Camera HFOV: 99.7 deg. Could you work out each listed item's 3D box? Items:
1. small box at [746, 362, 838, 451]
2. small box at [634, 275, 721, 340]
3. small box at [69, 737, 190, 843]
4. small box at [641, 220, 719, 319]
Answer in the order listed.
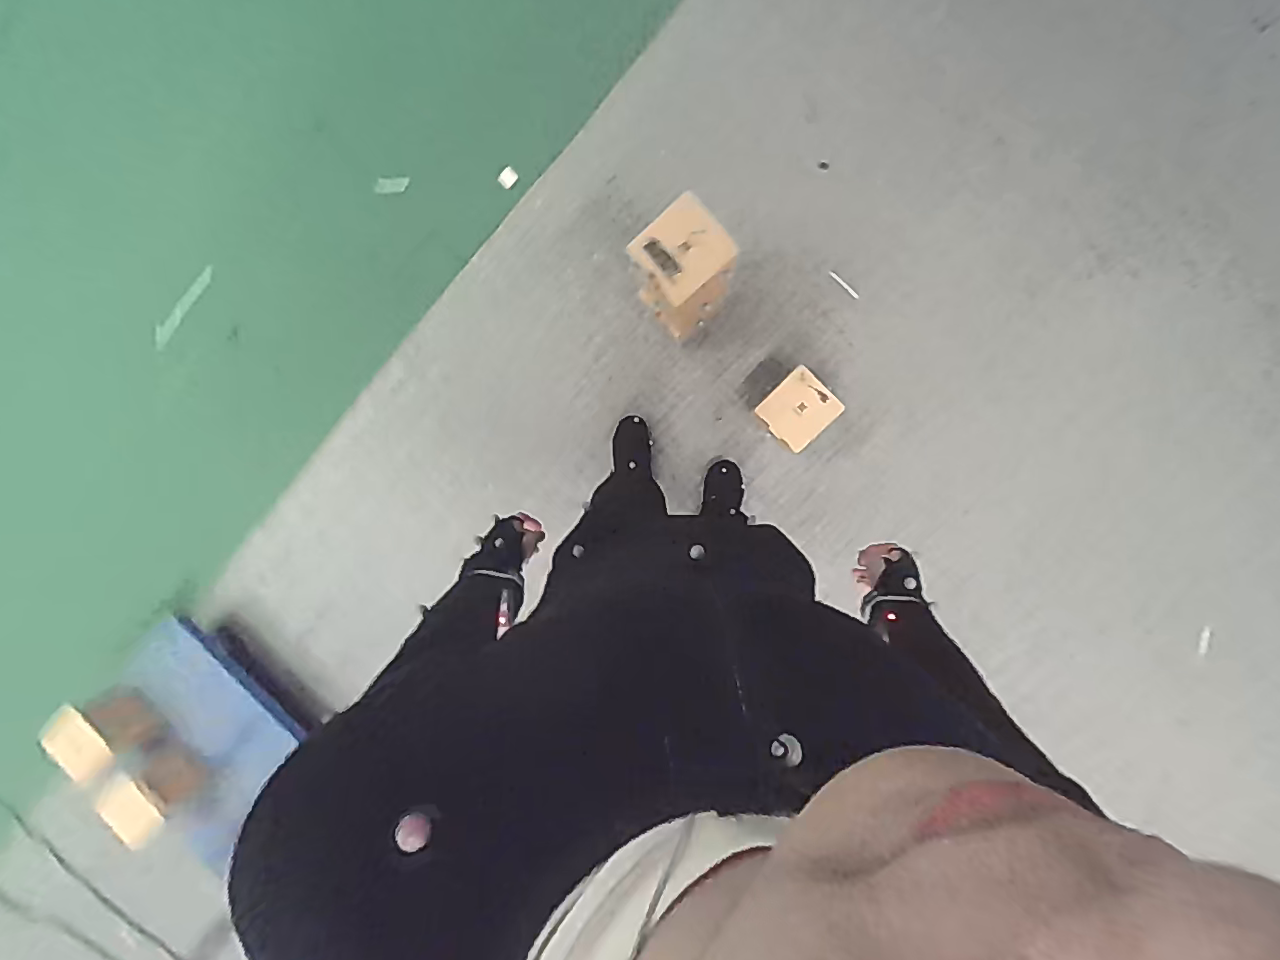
[{"bbox_3d":[0.410,-0.197,1.492,0.179,0.176,0.168,-43,90,9],"label":"small box"},{"bbox_3d":[0.107,-0.512,1.498,0.179,0.176,0.168,-40,90,7],"label":"small box"},{"bbox_3d":[-1.516,0.920,1.617,0.179,0.176,0.168,-42,90,8],"label":"small box"},{"bbox_3d":[0.103,-0.513,1.343,0.168,0.176,0.179,-8,94,9],"label":"small box"}]
